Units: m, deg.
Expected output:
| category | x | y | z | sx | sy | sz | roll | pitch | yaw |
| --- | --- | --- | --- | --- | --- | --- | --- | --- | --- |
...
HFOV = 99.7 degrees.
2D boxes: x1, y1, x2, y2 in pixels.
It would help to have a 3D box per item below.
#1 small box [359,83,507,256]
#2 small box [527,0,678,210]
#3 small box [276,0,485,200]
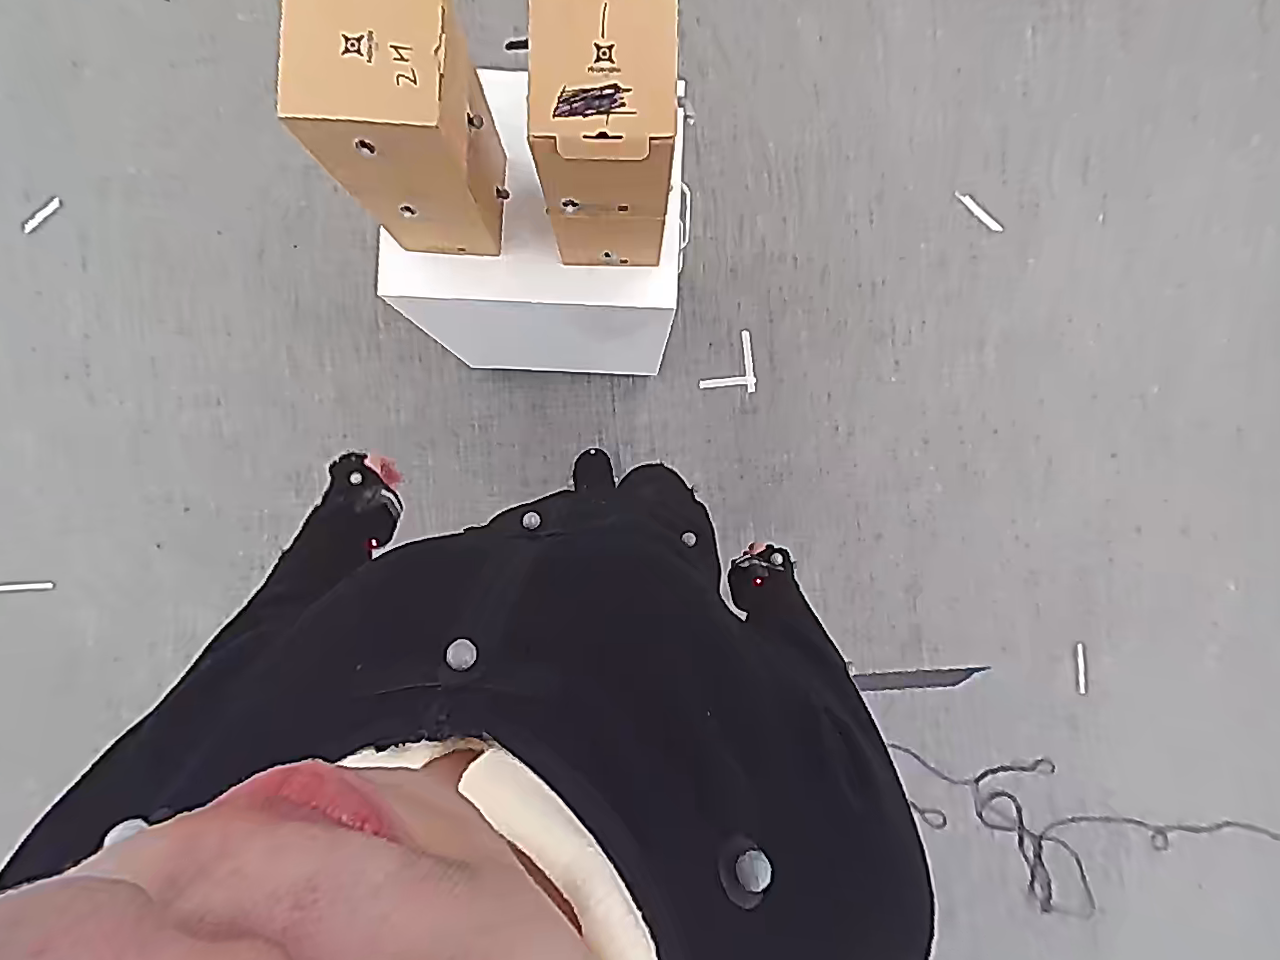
| category | x | y | z | sx | sy | sz | roll | pitch | yaw |
| --- | --- | --- | --- | --- | --- | --- | --- | --- | --- |
| small box | -0.306 | -0.471 | 0.828 | 0.168 | 0.176 | 0.179 | 3 | 89 | -1 |
| small box | -0.041 | -0.458 | 0.671 | 0.168 | 0.176 | 0.179 | 1 | 89 | -1 |
| small box | -0.302 | -0.468 | 0.663 | 0.179 | 0.176 | 0.168 | 3 | 90 | -2 |
